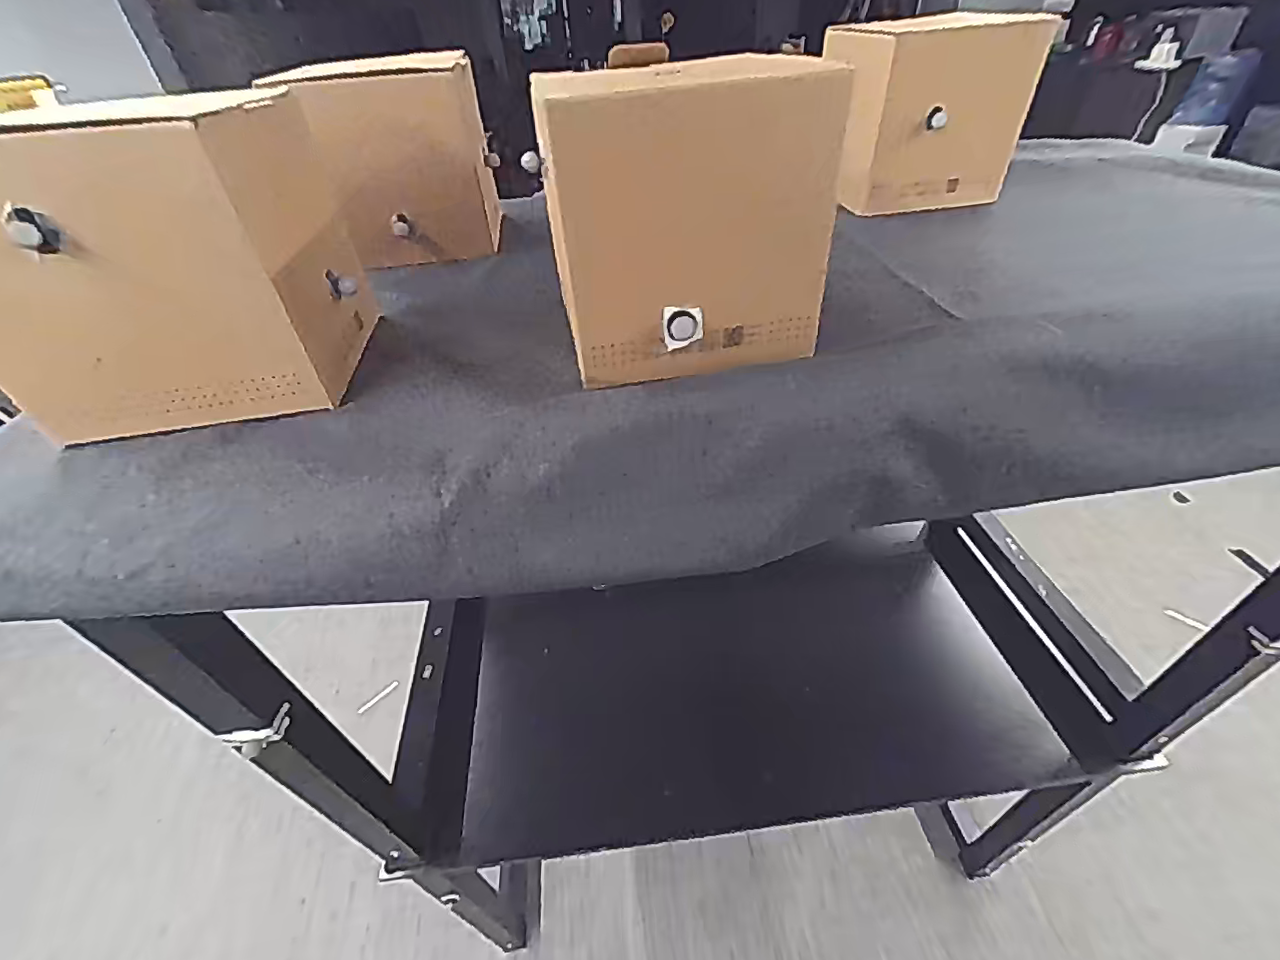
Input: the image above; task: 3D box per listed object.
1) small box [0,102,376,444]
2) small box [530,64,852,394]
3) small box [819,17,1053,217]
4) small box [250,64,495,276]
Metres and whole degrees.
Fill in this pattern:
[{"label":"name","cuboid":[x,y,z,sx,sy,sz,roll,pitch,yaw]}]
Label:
[{"label":"small box","cuboid":[-0.309,-0.139,0.362,0.179,0.176,0.168,-9,40,-6]},{"label":"small box","cuboid":[0.020,-0.181,0.383,0.168,0.176,0.179,-11,40,-6]},{"label":"small box","cuboid":[0.310,-0.414,0.625,0.168,0.176,0.179,-8,41,-3]},{"label":"small box","cuboid":[-0.260,-0.335,0.585,0.179,0.176,0.168,-8,40,-5]}]
